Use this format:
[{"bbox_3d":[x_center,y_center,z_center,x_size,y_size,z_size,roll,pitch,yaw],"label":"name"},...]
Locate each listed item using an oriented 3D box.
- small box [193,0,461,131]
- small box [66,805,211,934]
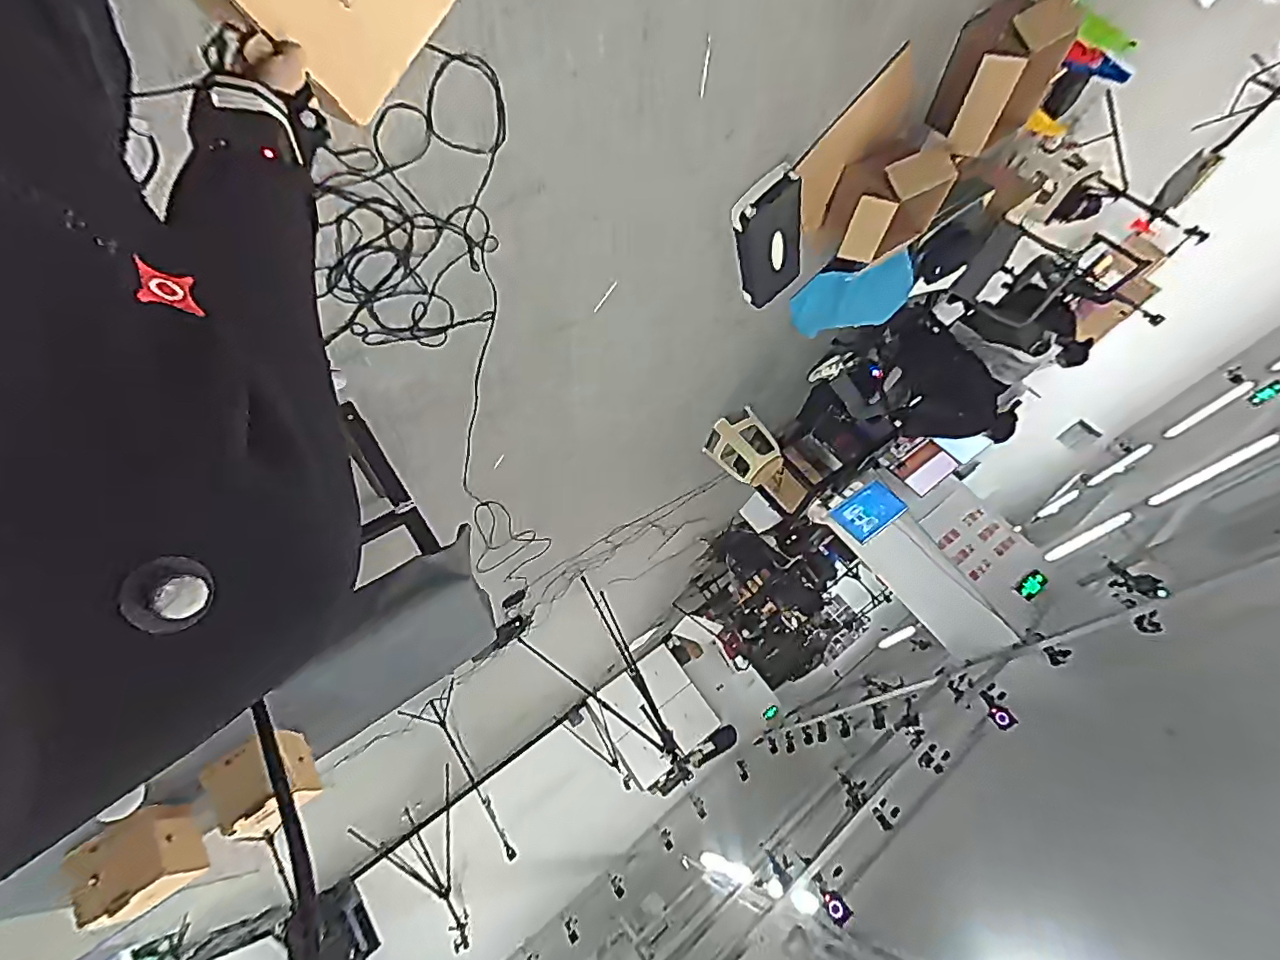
[{"bbox_3d":[-0.318,-0.489,0.521,0.179,0.176,0.168,-53,150,1],"label":"small box"},{"bbox_3d":[-1.147,0.878,1.240,0.168,0.176,0.179,-30,158,-21],"label":"small box"}]
